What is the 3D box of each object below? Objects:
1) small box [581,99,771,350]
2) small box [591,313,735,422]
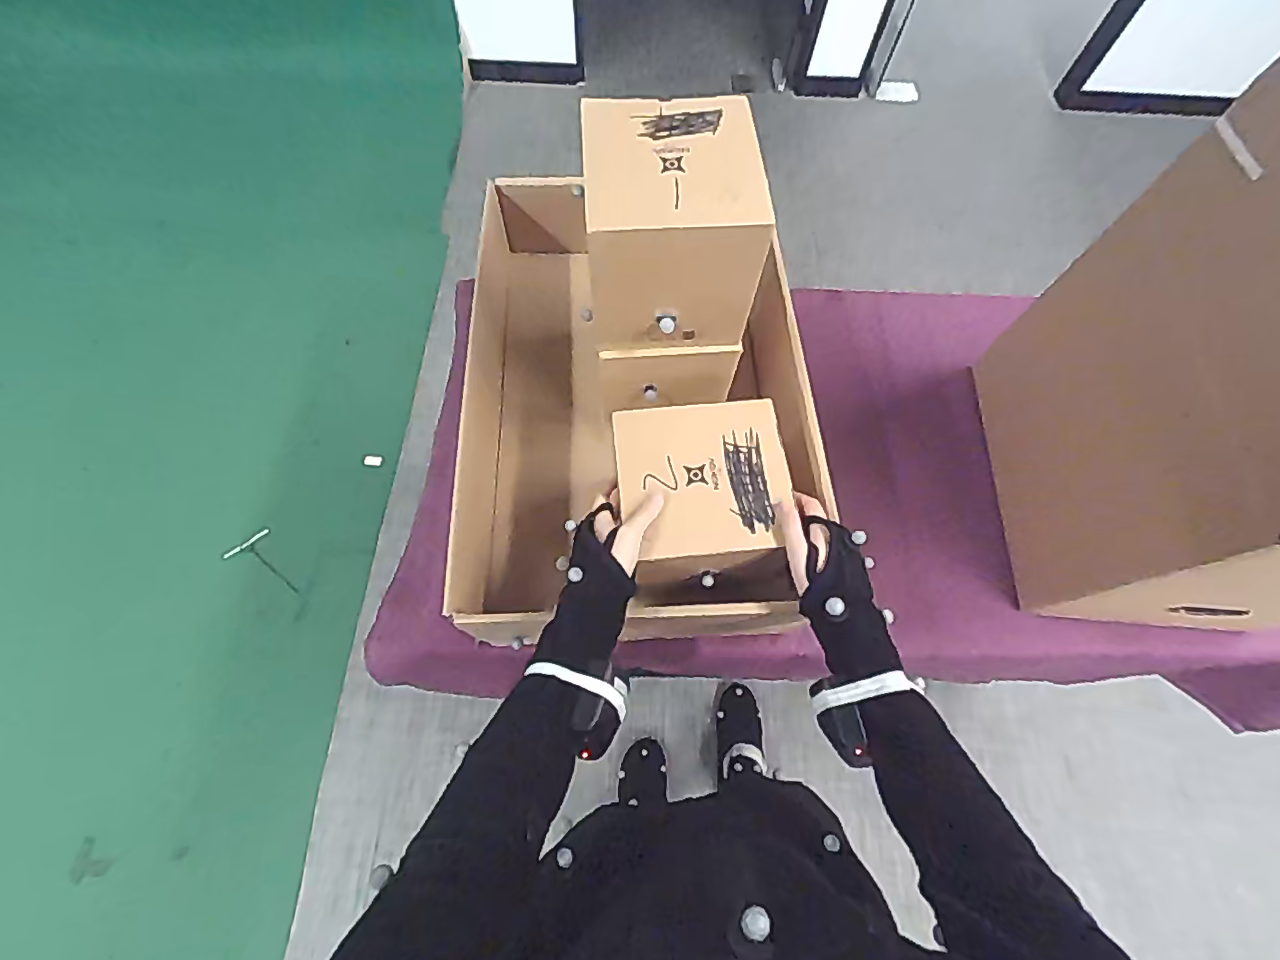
[{"bbox_3d":[0.025,-0.259,0.568,0.168,0.176,0.179,-3,68,-2],"label":"small box"},{"bbox_3d":[0.022,-0.187,0.716,0.168,0.176,0.179,-4,67,-3],"label":"small box"}]
